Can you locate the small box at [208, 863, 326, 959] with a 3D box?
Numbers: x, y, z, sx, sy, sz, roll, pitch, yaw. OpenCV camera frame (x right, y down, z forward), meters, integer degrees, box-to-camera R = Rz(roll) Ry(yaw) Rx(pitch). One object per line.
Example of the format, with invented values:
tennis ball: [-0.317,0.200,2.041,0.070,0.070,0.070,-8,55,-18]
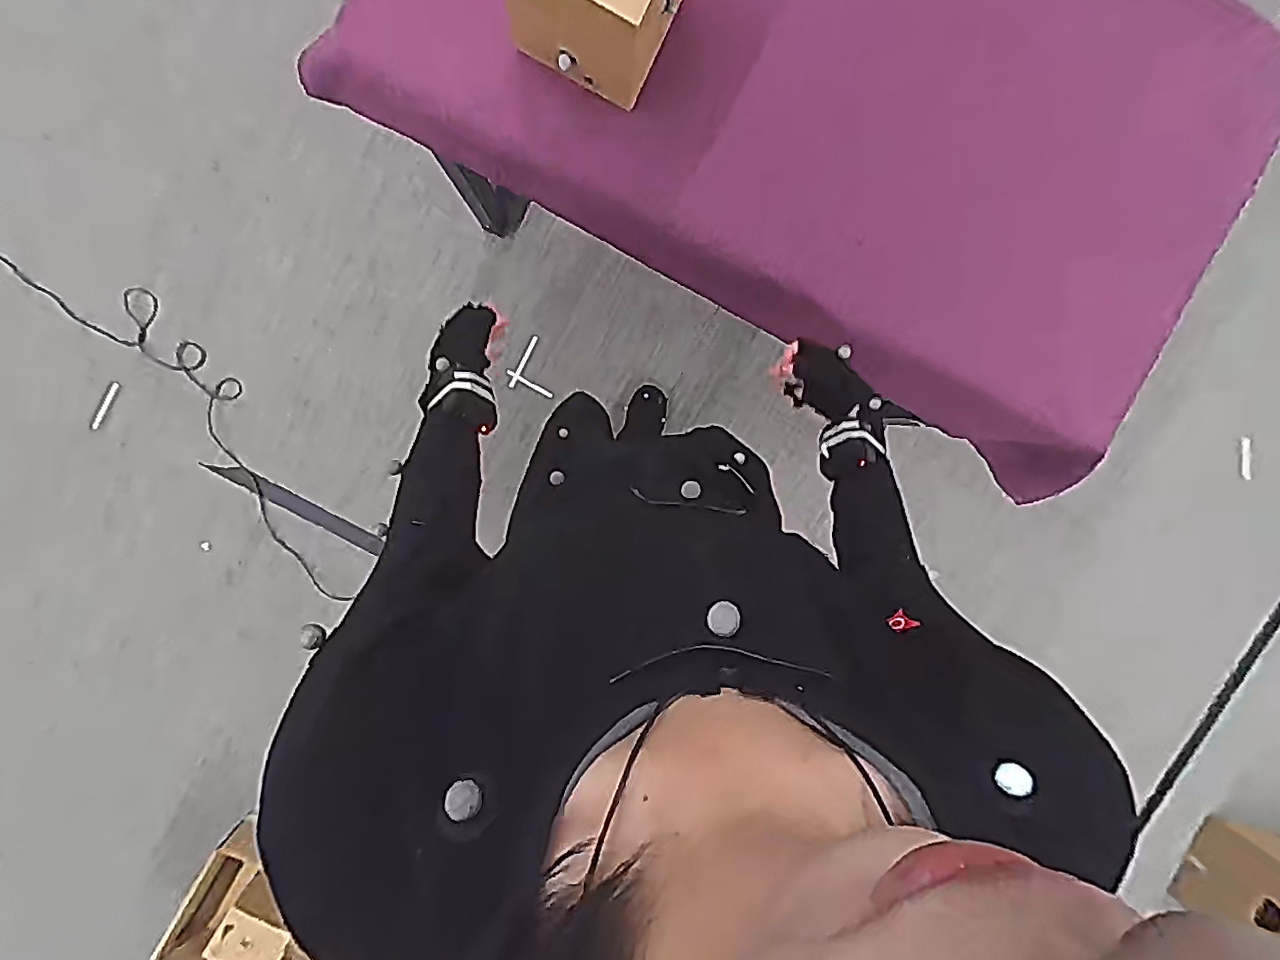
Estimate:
small box: [-1.003,1.198,1.473,0.179,0.176,0.168,32,93,-10]

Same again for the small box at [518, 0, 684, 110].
small box: [-0.038,-0.586,0.621,0.168,0.176,0.179,25,96,-6]
